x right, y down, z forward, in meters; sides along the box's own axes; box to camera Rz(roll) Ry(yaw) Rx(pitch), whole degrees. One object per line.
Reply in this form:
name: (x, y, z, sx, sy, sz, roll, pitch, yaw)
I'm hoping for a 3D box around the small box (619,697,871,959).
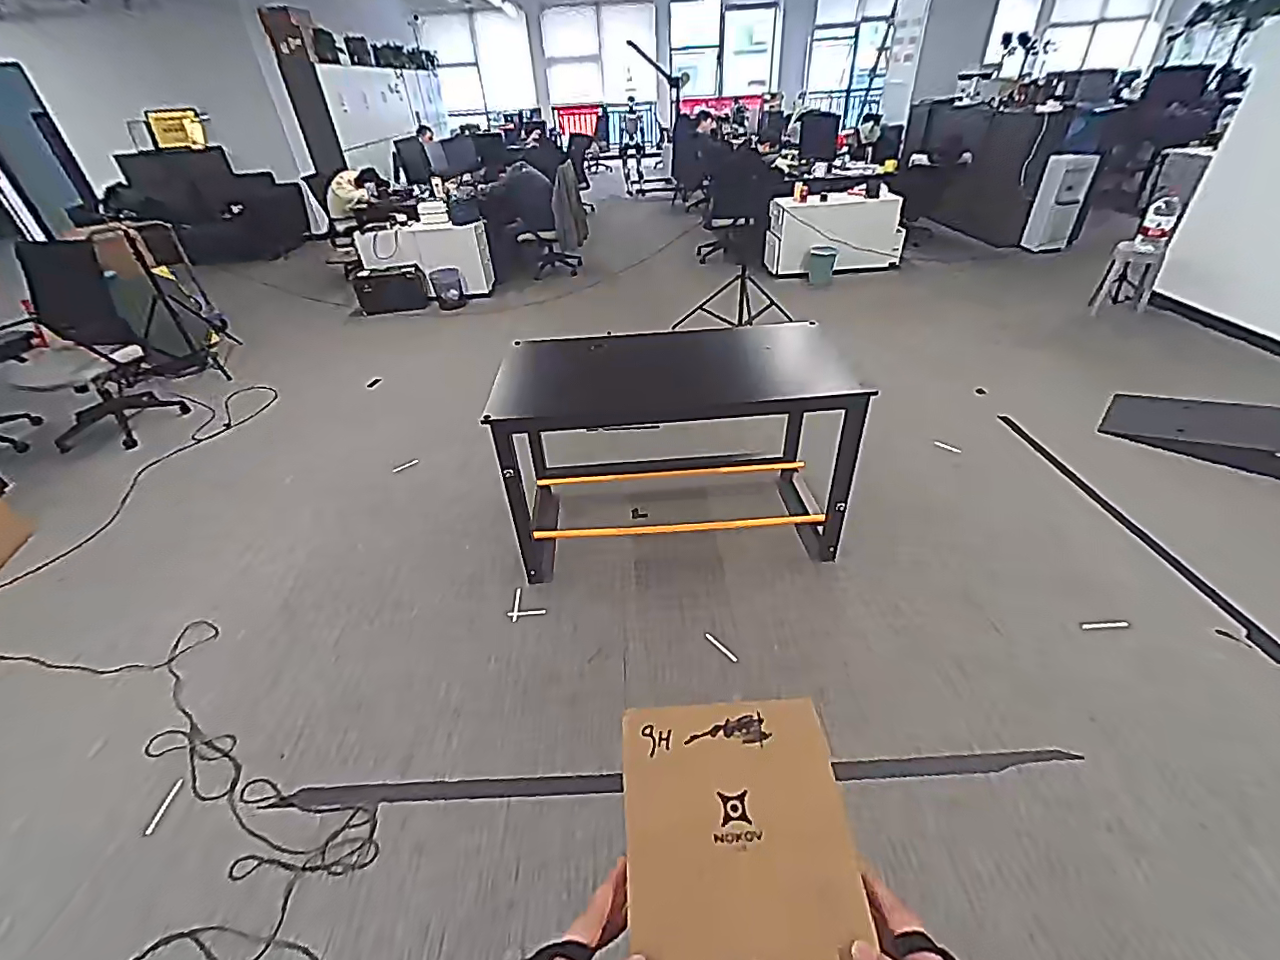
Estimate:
small box: (0.071, 0.309, 0.466, 0.168, 0.176, 0.179, -4, 47, -1)
